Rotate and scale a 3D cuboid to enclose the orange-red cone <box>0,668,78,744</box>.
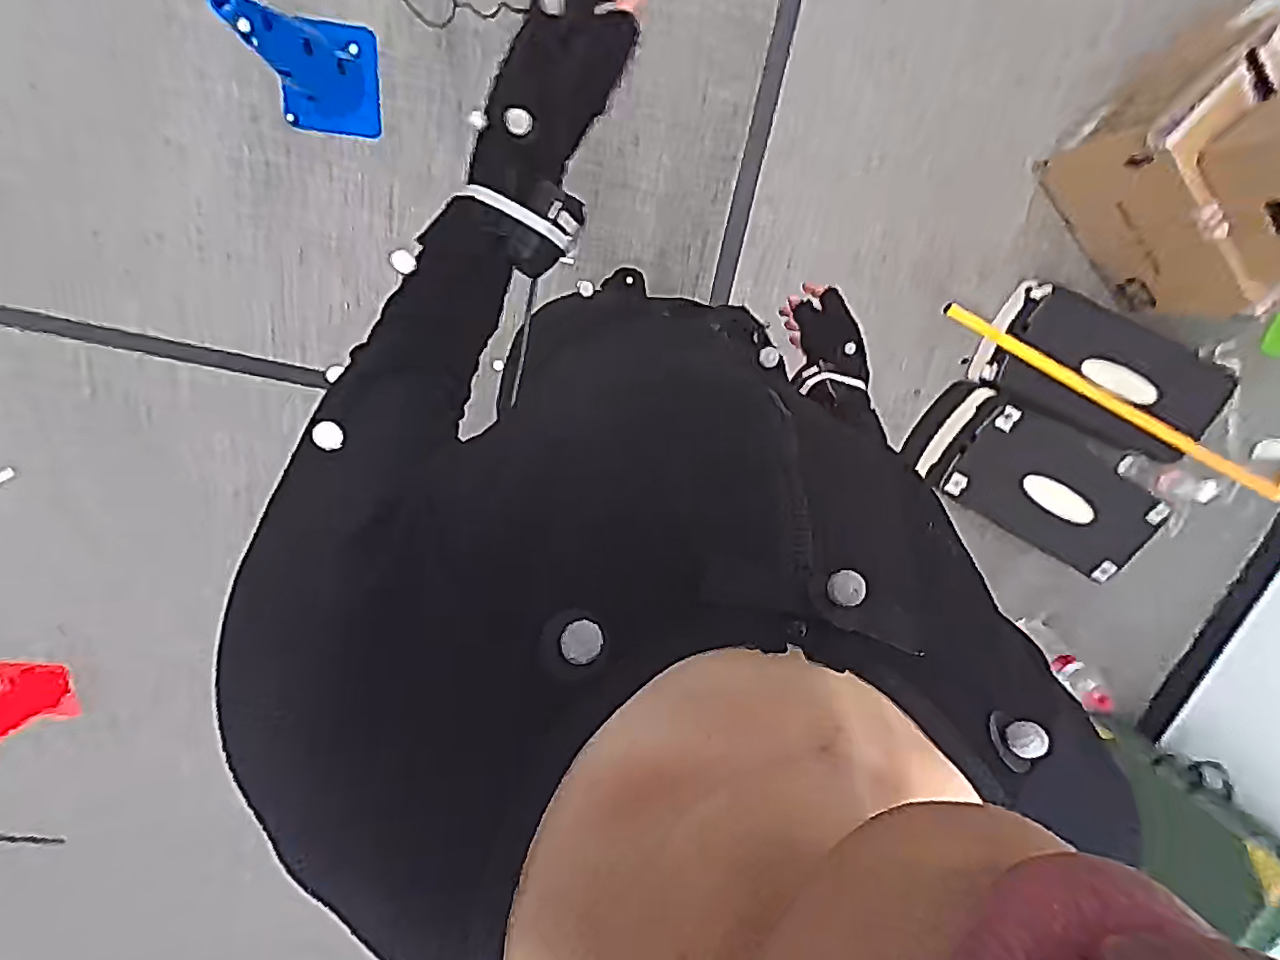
[{"bbox_3d":[-1.819,0.716,1.483,0.199,0.360,0.198,6,111,-8],"label":"orange-red cone"}]

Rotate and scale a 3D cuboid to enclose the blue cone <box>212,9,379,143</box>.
[{"bbox_3d":[-0.643,-0.769,0.987,0.193,0.380,0.192,5,111,-6],"label":"blue cone"}]
